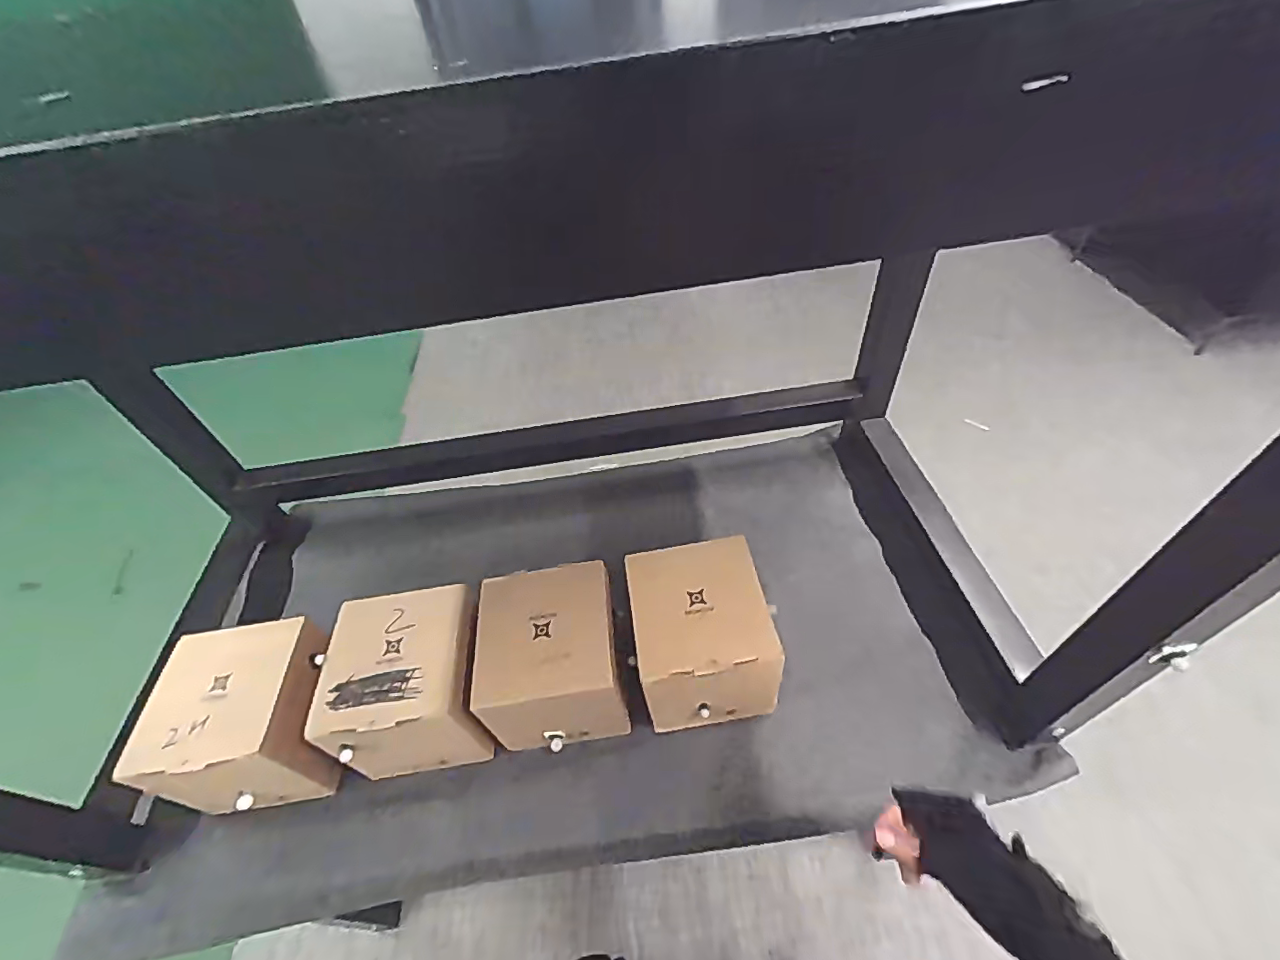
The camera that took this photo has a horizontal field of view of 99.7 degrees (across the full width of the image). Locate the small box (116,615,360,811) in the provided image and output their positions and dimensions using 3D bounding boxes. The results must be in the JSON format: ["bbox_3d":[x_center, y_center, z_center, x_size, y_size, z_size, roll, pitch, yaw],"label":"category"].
[{"bbox_3d":[-0.496,0.304,0.707,0.168,0.176,0.179,-9,47,-1],"label":"small box"}]
